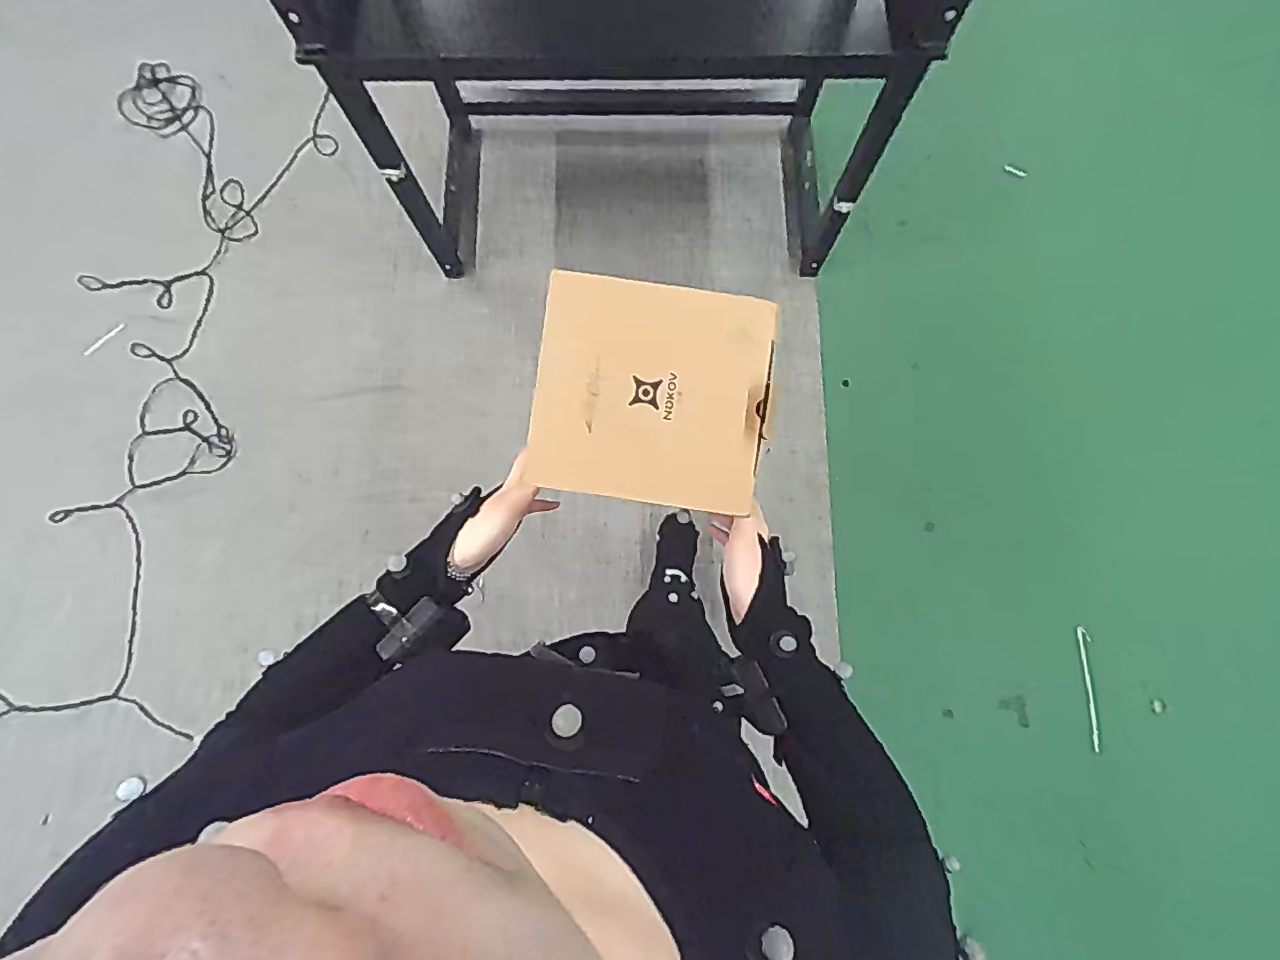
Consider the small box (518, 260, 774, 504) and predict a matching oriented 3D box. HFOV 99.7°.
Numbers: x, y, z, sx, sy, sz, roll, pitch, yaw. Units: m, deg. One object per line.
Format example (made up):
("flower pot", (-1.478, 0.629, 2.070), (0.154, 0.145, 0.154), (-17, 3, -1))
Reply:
("small box", (0.006, -0.074, 0.486), (0.179, 0.176, 0.168), (8, 89, 1))
